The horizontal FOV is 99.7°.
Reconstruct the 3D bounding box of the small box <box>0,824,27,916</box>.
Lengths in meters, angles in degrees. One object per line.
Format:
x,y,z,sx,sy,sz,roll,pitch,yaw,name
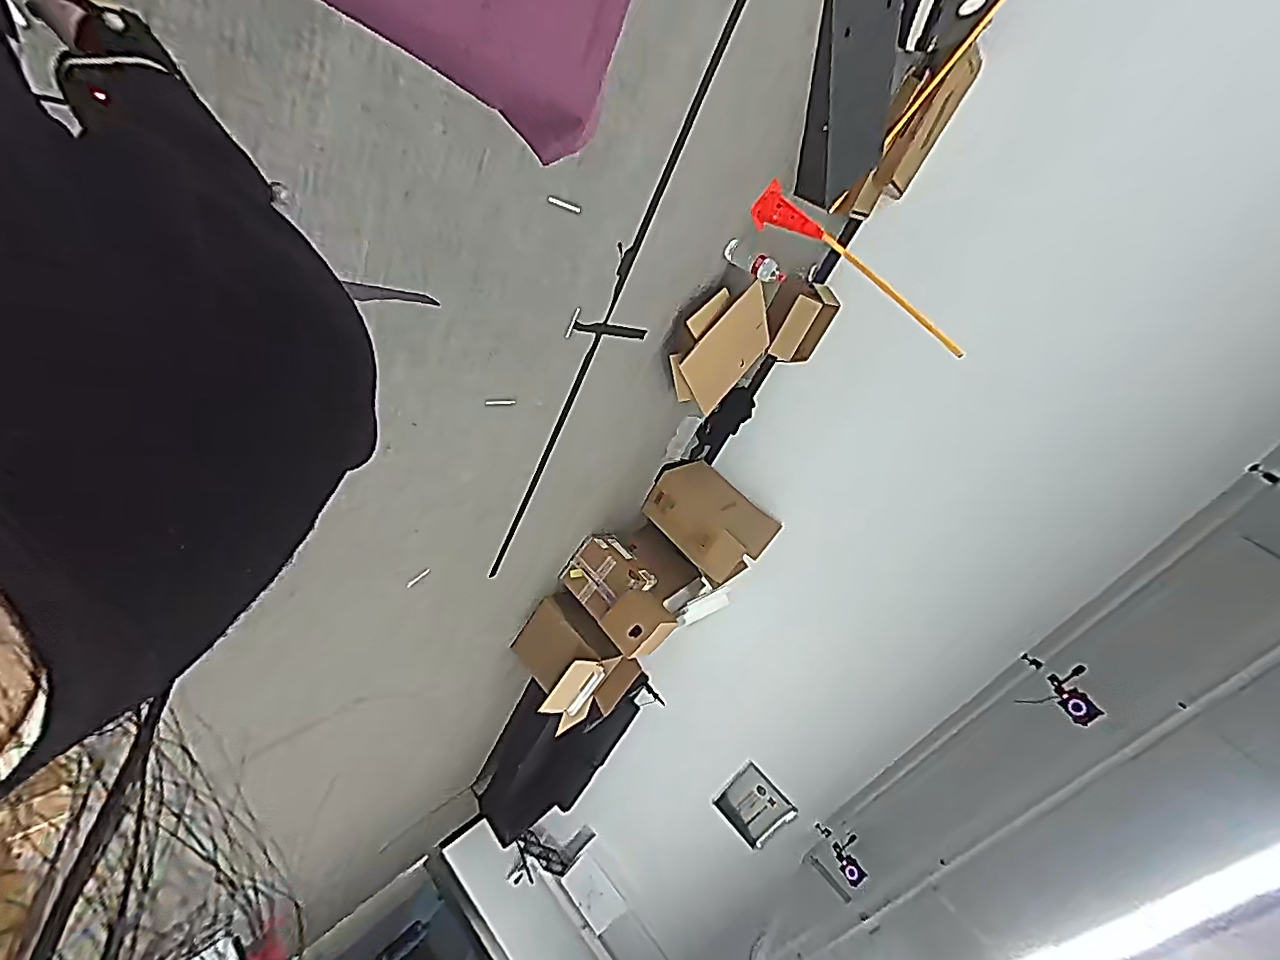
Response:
-1.718,1.031,1.377,0.179,0.176,0.168,-14,138,-52,small box
